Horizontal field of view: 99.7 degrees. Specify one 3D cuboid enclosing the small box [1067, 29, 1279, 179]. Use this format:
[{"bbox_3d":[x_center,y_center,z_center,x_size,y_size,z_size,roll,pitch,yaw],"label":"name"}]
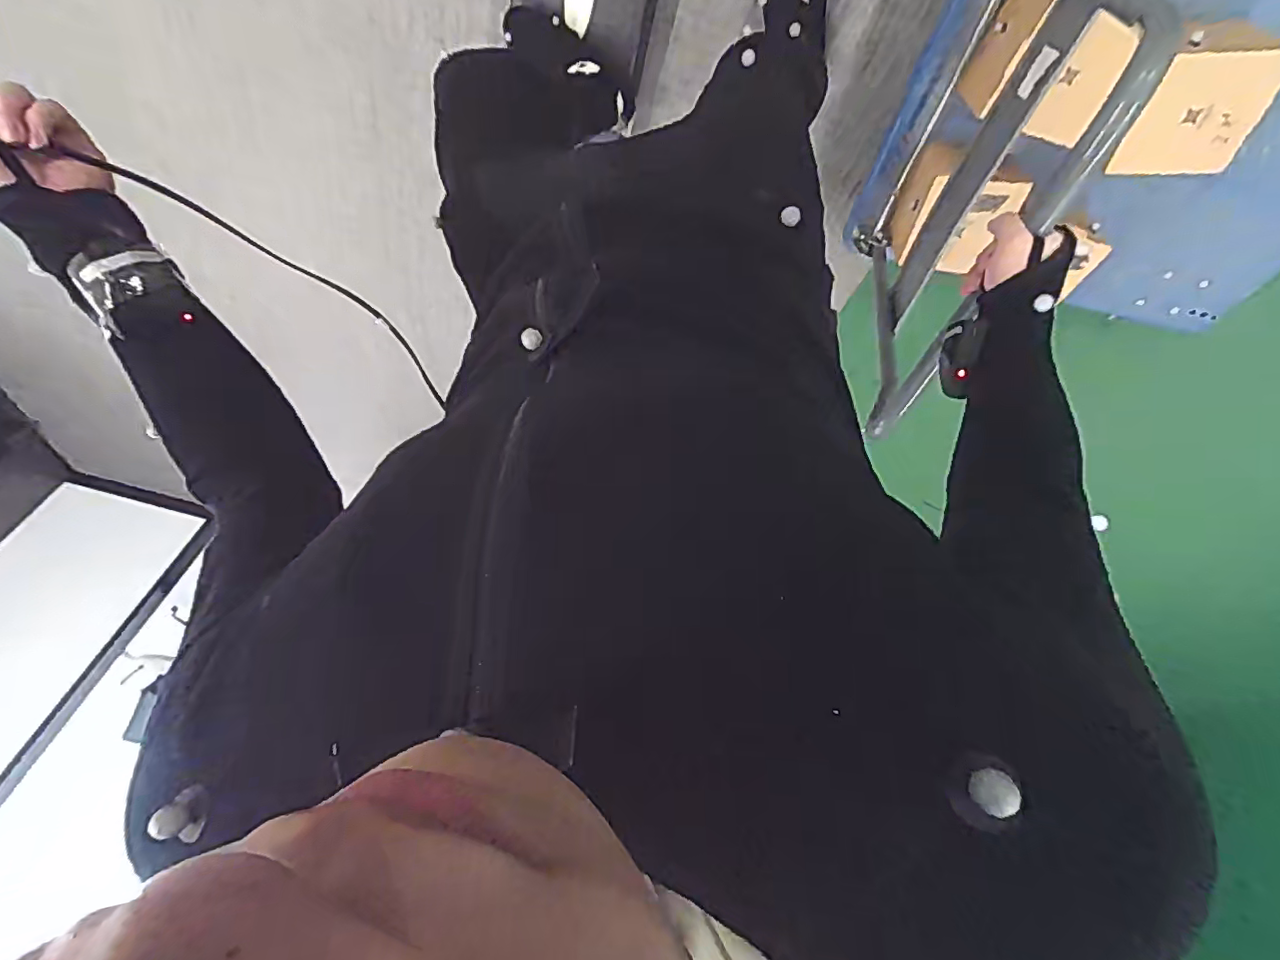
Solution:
[{"bbox_3d":[0.856,-0.617,0.889,0.179,0.176,0.168,5,141,8],"label":"small box"}]
